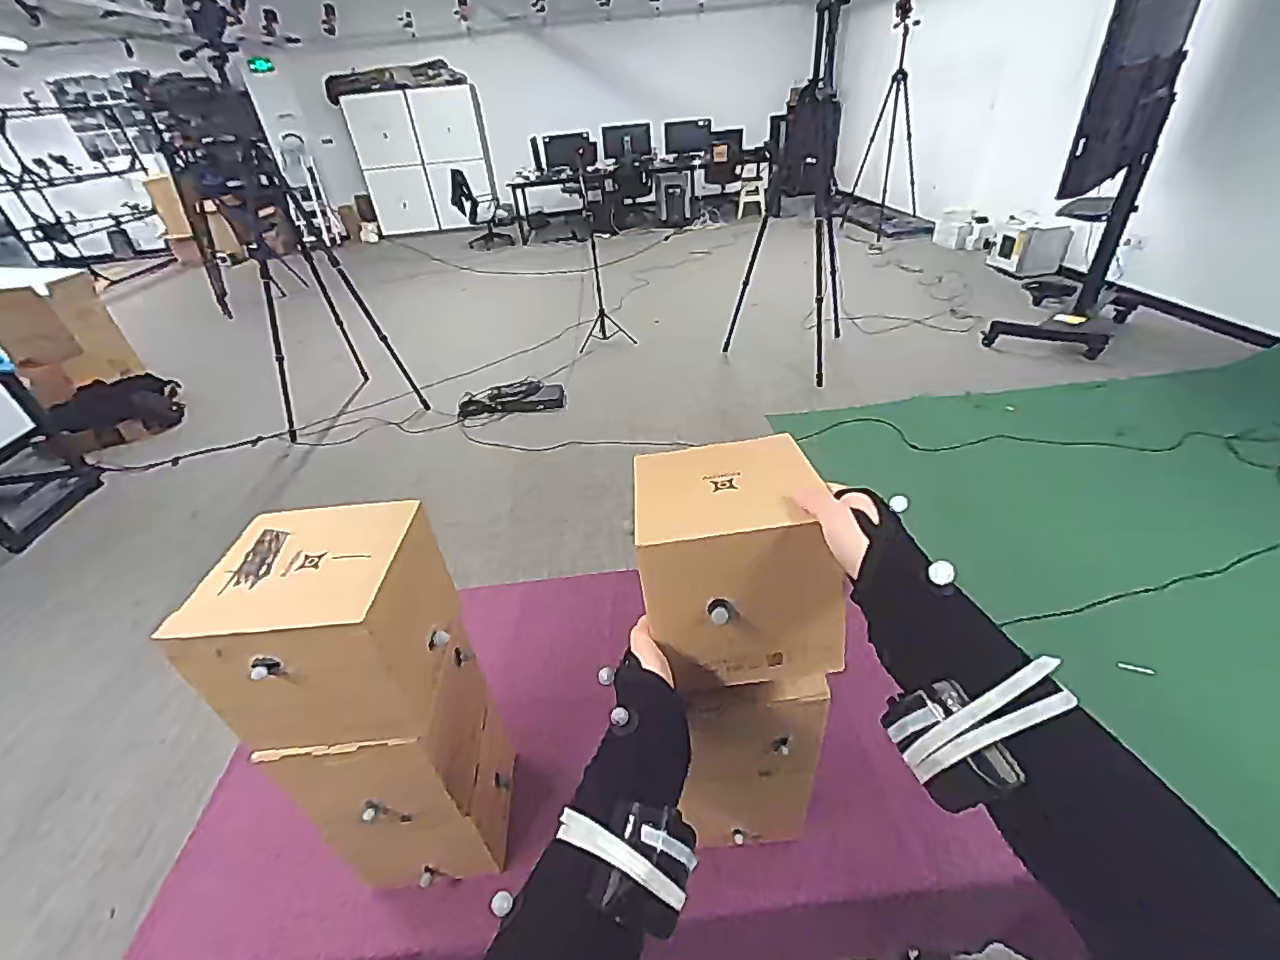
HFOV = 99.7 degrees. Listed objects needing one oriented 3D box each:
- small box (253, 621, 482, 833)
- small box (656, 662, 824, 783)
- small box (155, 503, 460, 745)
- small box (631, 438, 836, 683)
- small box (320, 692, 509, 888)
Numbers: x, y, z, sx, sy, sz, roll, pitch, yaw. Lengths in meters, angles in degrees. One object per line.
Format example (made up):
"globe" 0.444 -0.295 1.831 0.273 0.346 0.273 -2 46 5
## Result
"small box" -0.296 0.279 0.638 0.168 0.176 0.179 -7 36 -1
"small box" 0.104 0.237 0.644 0.168 0.176 0.179 -6 35 -1
"small box" -0.303 0.144 0.543 0.179 0.176 0.168 -5 35 0
"small box" 0.086 0.078 0.530 0.168 0.176 0.179 -8 26 3
"small box" -0.282 0.416 0.729 0.179 0.176 0.168 -7 35 -3
